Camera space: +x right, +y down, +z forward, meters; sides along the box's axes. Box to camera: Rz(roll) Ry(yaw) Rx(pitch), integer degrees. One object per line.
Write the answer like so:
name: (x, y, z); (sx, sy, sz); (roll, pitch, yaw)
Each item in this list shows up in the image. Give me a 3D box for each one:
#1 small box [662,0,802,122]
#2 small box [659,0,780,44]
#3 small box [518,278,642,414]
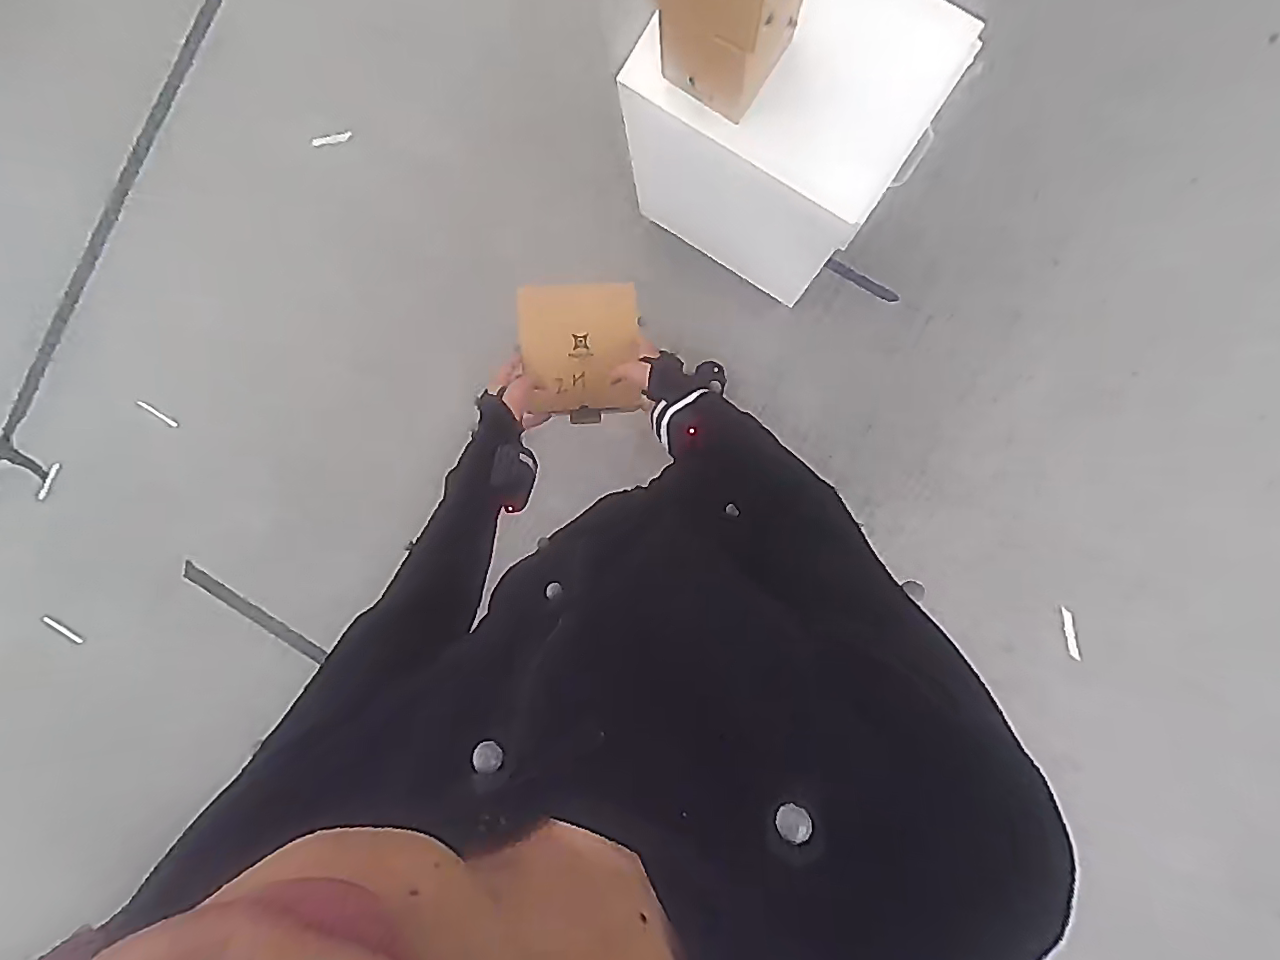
small box: (0.147, -0.743, 0.879); (0.168, 0.176, 0.179); (34, 95, 2)
small box: (0.128, -0.738, 0.716); (0.179, 0.176, 0.168); (30, 94, 4)
small box: (-0.089, -0.195, 0.825); (0.168, 0.176, 0.179); (-4, 96, -4)
